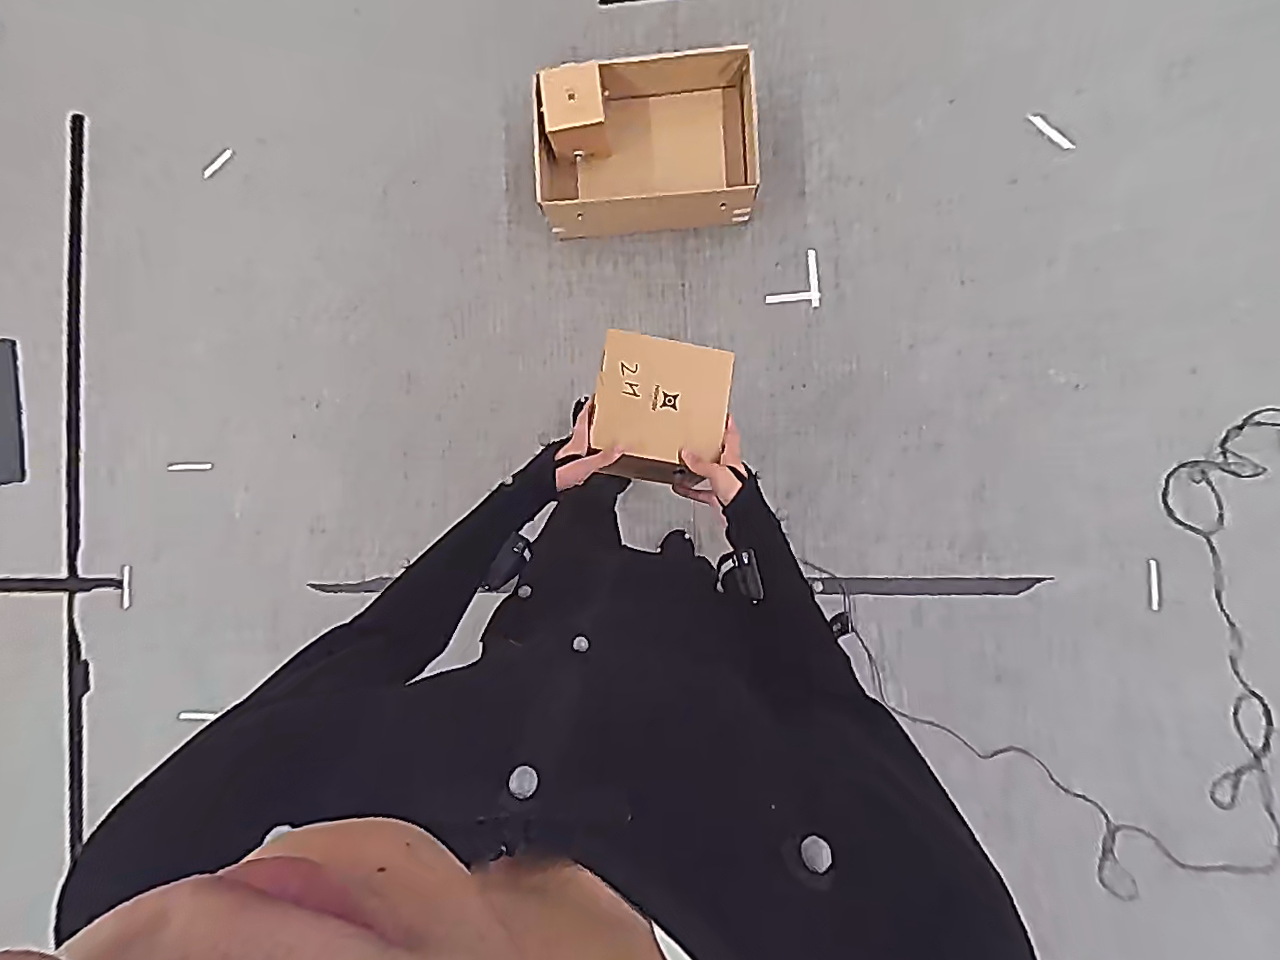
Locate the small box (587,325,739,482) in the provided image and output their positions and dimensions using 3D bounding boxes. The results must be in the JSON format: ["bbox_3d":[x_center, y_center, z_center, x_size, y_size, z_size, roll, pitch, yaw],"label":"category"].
[{"bbox_3d":[0.025,-0.097,0.775,0.179,0.176,0.168,10,81,-5],"label":"small box"}]
